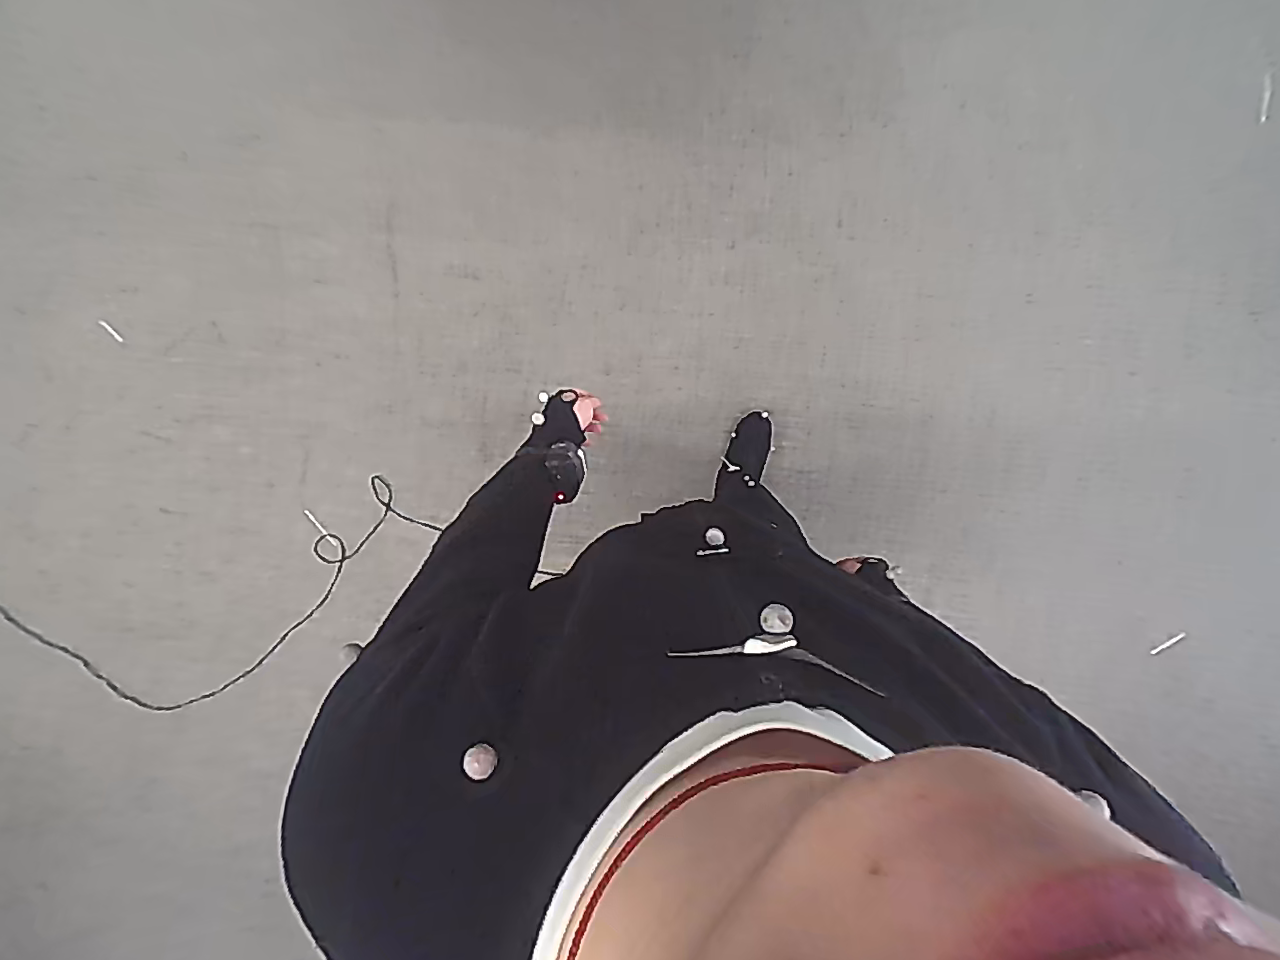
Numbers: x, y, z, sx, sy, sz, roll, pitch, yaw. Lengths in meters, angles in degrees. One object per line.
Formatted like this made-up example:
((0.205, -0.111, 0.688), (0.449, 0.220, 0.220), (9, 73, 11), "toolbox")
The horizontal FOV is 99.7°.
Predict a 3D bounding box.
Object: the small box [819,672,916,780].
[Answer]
((0.543, 0.586, 1.310), (0.168, 0.176, 0.179), (4, 95, 4), "small box")

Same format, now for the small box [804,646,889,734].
((0.553, 0.576, 1.472), (0.168, 0.176, 0.179), (6, 94, 3), "small box")
